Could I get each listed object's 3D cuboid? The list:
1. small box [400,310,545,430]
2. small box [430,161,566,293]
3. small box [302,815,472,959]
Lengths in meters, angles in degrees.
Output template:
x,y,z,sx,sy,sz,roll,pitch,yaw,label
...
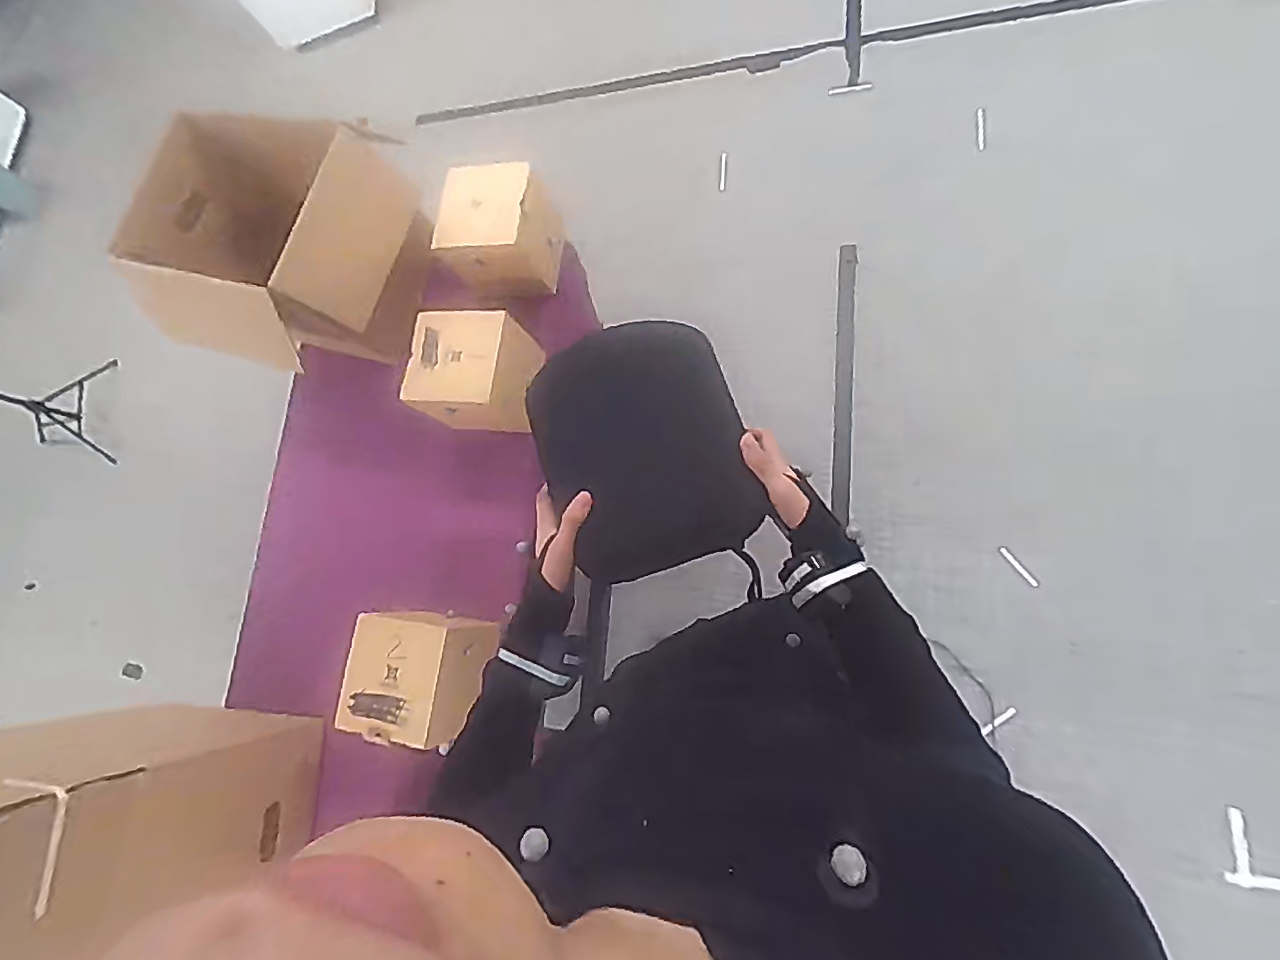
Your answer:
x,y,z,sx,sy,sz,roll,pitch,yaw,label
-0.298,-0.195,0.990,0.179,0.176,0.168,5,80,15,small box
-0.265,-0.474,1.038,0.179,0.176,0.168,5,80,17,small box
-0.378,0.652,0.832,0.168,0.176,0.179,-2,77,15,small box
